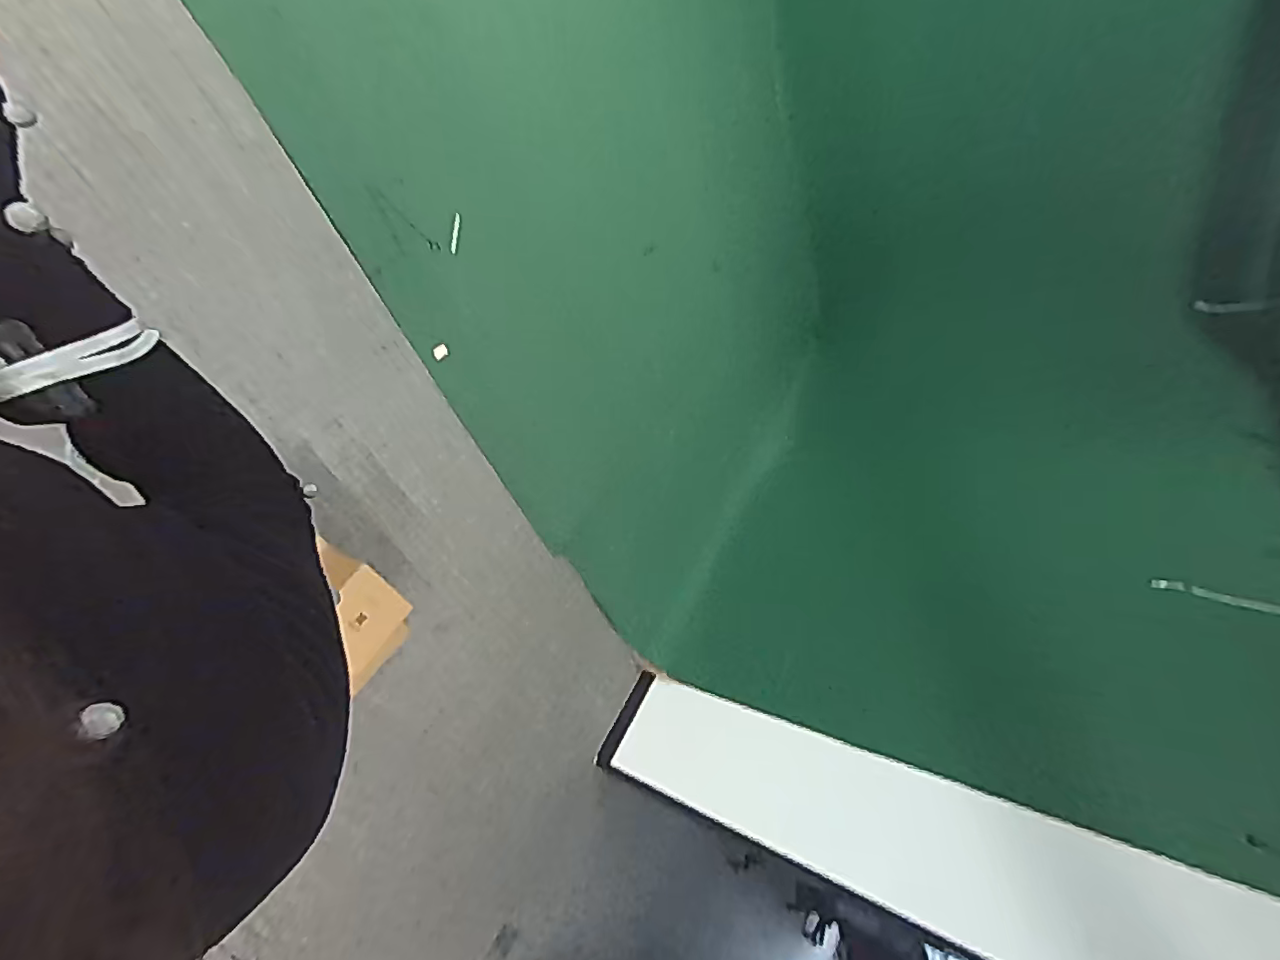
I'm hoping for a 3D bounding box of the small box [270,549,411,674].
[{"bbox_3d":[-0.632,0.270,1.135,0.179,0.176,0.168,-57,138,-33],"label":"small box"}]
